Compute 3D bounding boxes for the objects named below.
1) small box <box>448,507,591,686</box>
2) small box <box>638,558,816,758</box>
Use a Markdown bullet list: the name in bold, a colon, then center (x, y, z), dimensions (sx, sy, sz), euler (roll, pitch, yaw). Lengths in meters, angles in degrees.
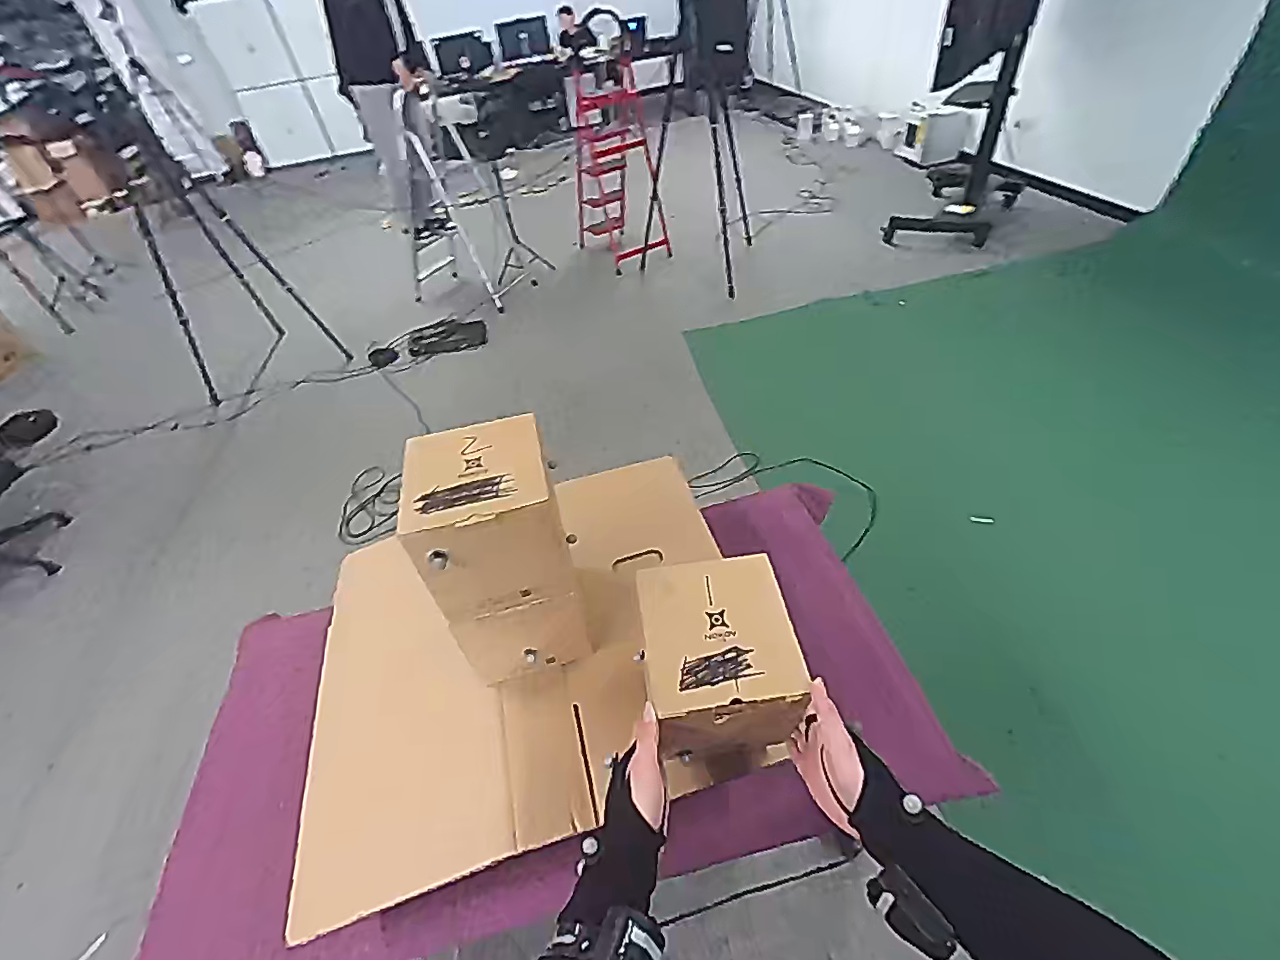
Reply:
- **small box**: center (-0.176, 0.172, 0.801), dimensions (0.168, 0.176, 0.179), euler (-14, 45, -7)
- **small box**: center (0.092, 0.220, 0.653), dimensions (0.168, 0.176, 0.179), euler (-6, 49, -4)
